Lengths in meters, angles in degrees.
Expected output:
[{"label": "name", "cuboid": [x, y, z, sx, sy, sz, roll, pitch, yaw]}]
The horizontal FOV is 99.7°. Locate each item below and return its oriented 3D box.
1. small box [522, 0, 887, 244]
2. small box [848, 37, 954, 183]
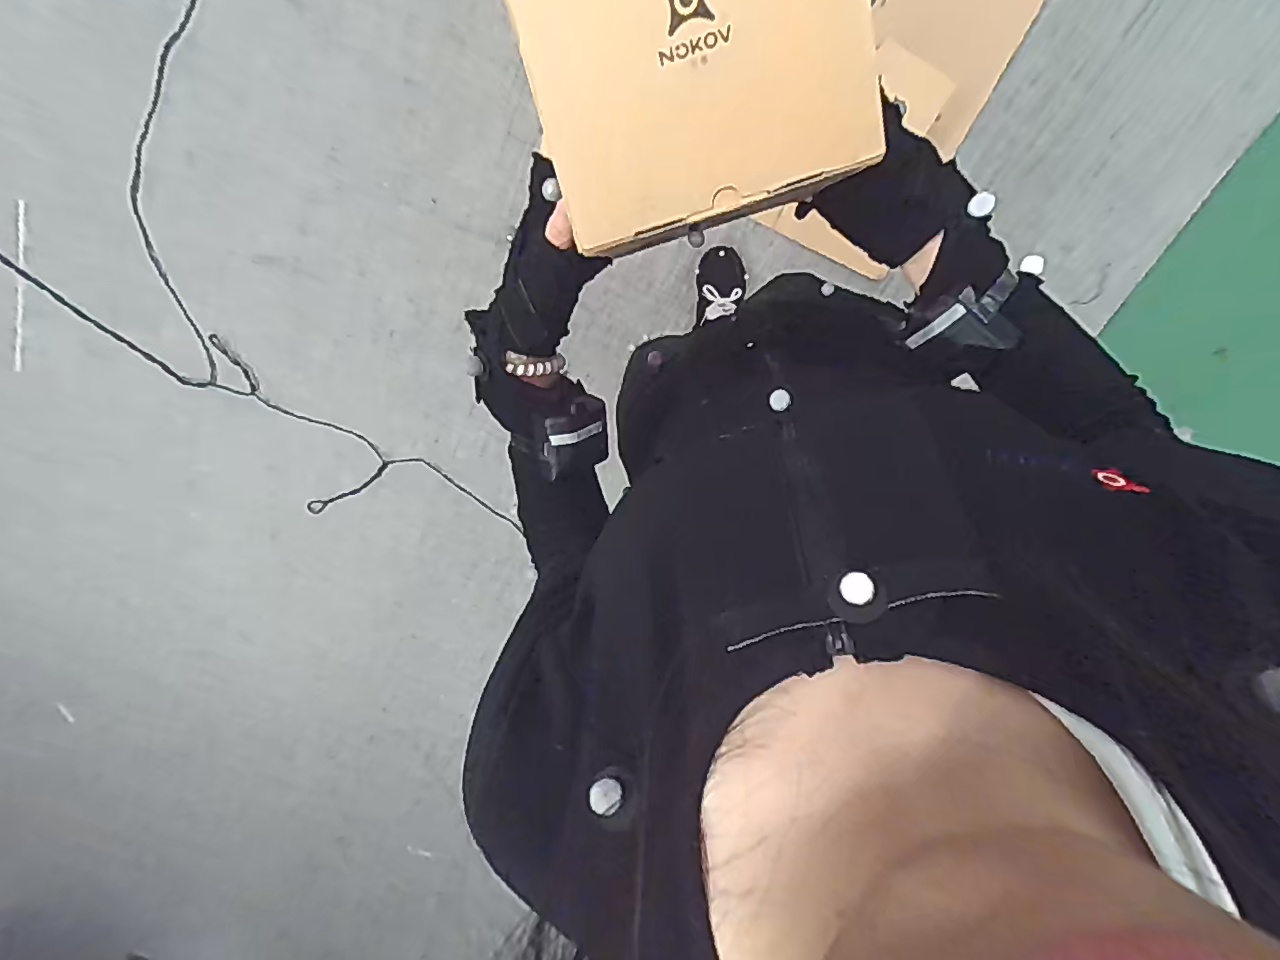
[{"label": "small box", "cuboid": [0.030, -0.257, 0.331, 0.168, 0.176, 0.179, -13, 112, 8]}, {"label": "small box", "cuboid": [0.491, -0.747, 1.116, 0.168, 0.176, 0.179, 28, 111, -7]}]
